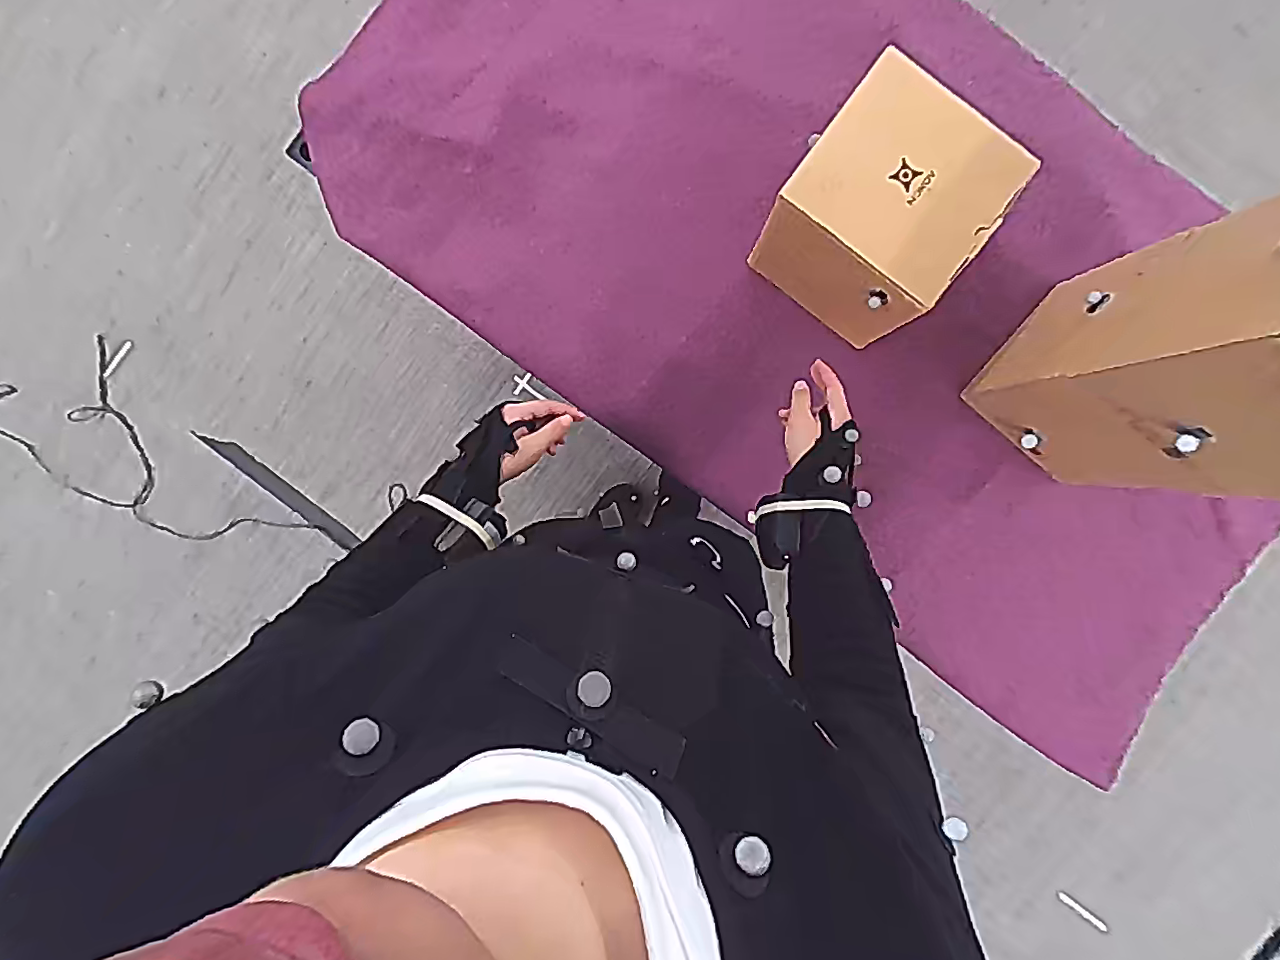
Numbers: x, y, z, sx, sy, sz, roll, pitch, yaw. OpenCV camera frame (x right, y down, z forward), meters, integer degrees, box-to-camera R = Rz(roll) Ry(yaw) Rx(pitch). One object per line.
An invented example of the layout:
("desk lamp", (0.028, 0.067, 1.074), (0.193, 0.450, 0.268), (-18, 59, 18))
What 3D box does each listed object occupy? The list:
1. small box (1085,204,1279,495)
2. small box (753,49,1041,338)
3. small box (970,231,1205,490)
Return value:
("small box", (0.500, -0.103, 0.400), (0.168, 0.176, 0.179), (41, 92, 0))
("small box", (0.243, -0.272, 0.564), (0.179, 0.176, 0.168), (37, 91, -1))
("small box", (0.499, -0.110, 0.565), (0.168, 0.176, 0.179), (41, 92, -1))
